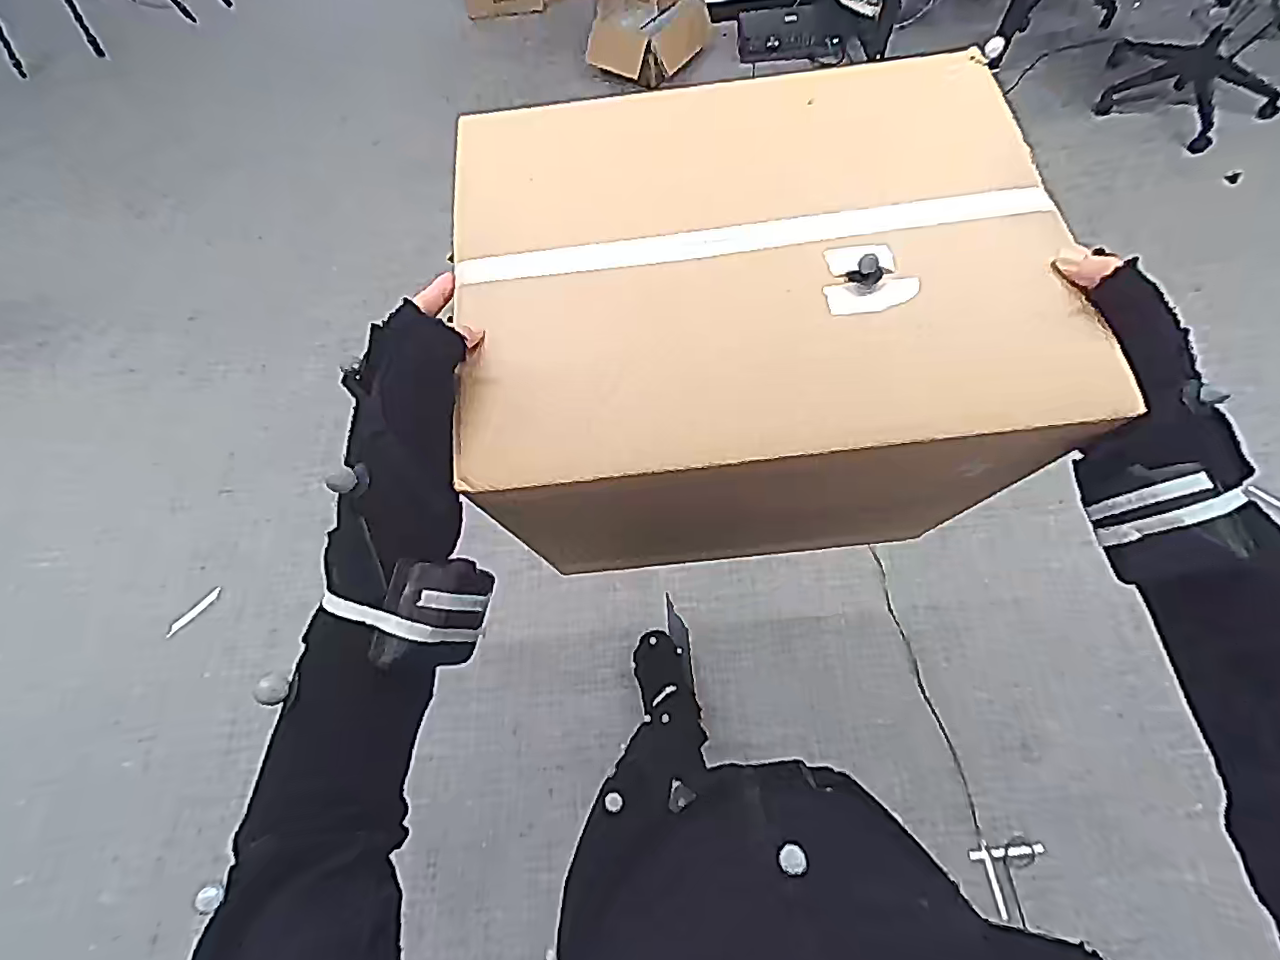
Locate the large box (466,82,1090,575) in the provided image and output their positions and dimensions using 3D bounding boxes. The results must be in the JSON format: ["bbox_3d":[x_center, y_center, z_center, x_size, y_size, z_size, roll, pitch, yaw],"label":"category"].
[{"bbox_3d":[0.077,-0.108,0.531,0.408,0.320,0.320,-7,70,1],"label":"large box"}]
